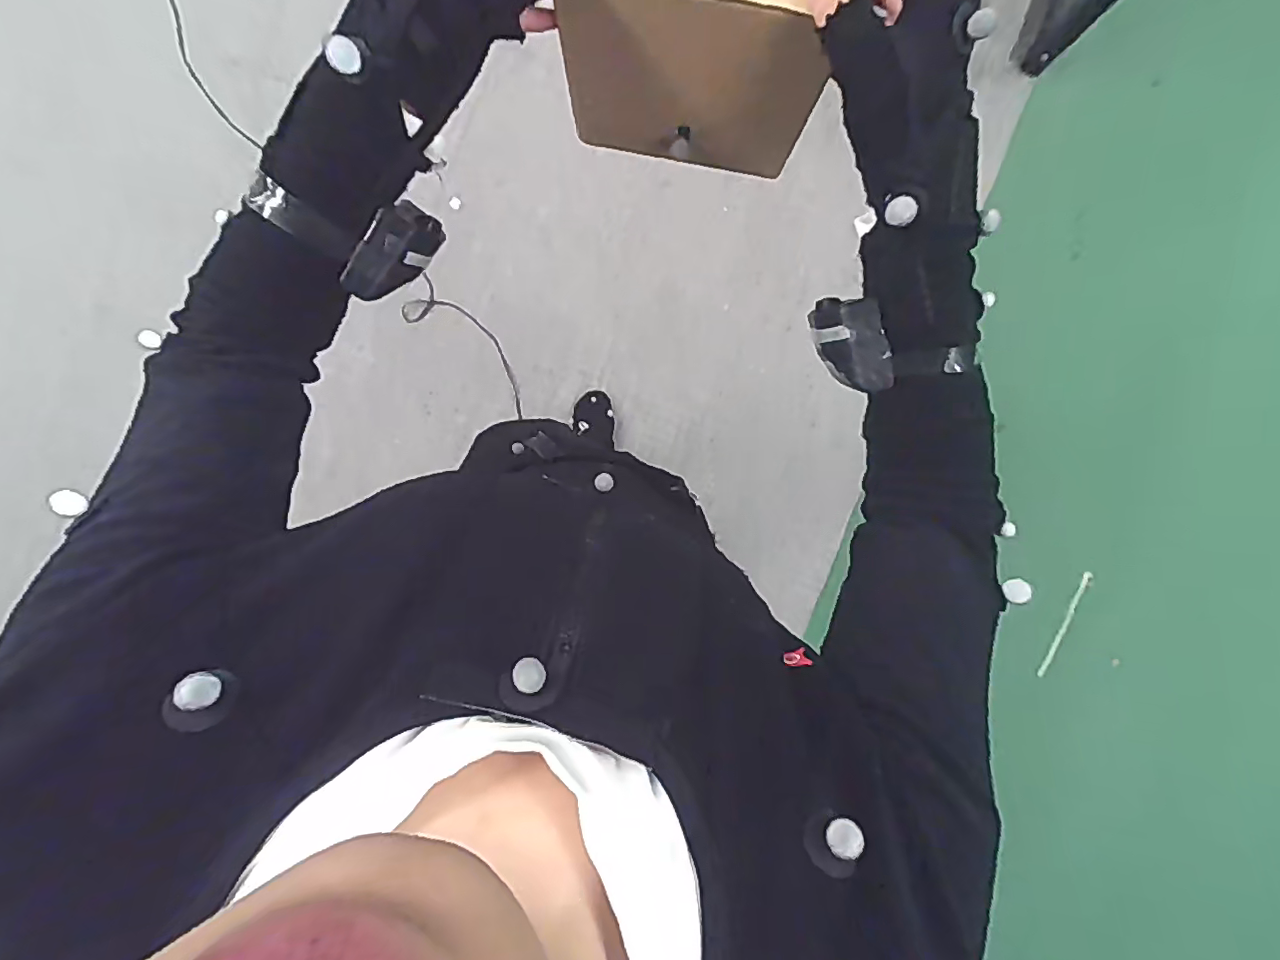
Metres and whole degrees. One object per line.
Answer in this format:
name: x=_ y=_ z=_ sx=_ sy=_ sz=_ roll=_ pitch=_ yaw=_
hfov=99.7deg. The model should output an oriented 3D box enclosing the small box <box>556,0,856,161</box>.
small box: x=0.046 y=-0.357 z=0.376 sx=0.179 sy=0.176 sz=0.168 roll=11 pitch=92 yaw=-2
